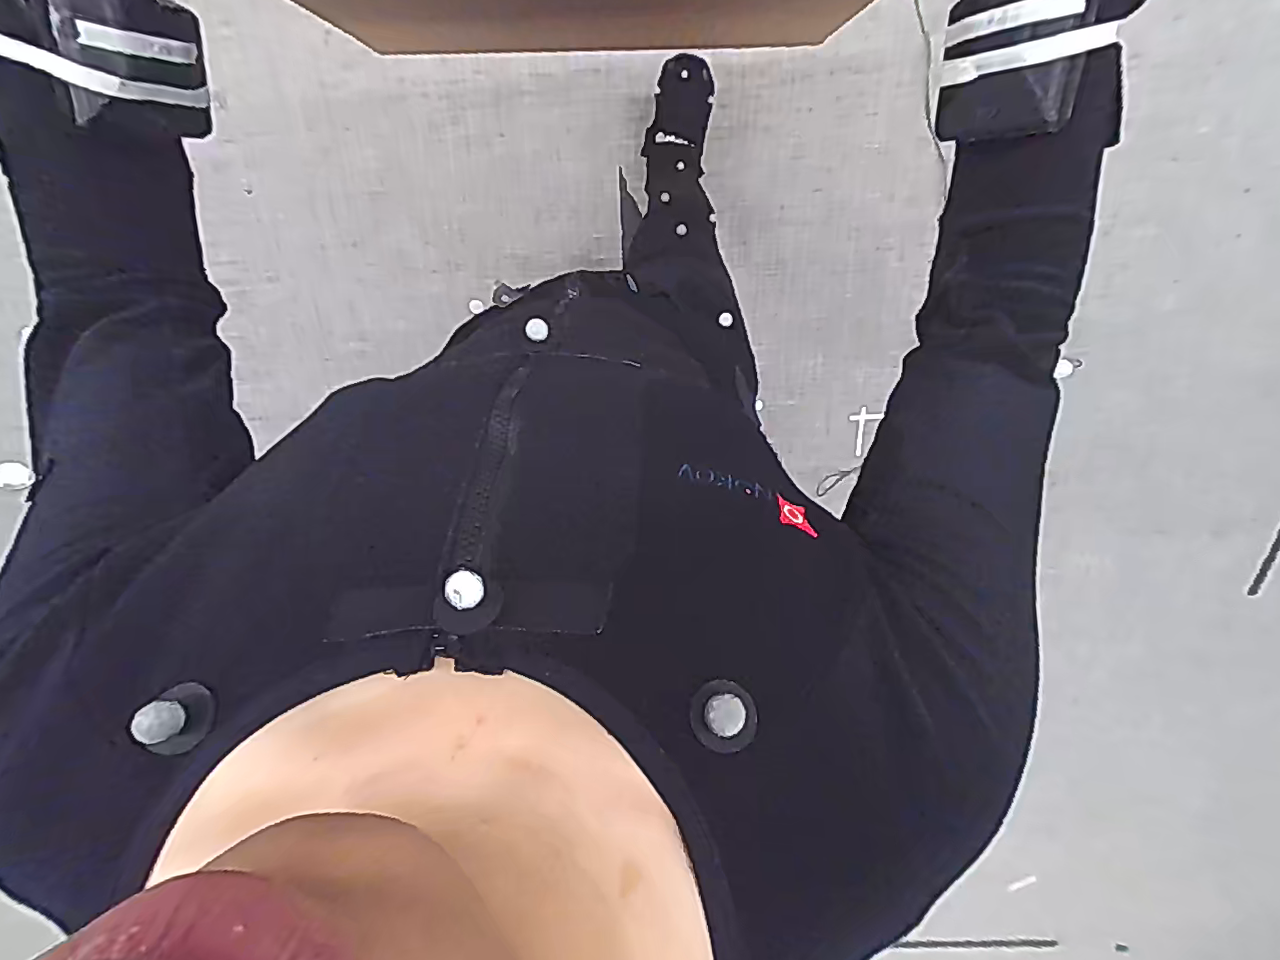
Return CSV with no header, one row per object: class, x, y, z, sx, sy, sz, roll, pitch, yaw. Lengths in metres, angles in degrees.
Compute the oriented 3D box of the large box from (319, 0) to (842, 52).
large box,-0.037,-0.469,0.292,0.408,0.320,0.320,-3,117,-1
